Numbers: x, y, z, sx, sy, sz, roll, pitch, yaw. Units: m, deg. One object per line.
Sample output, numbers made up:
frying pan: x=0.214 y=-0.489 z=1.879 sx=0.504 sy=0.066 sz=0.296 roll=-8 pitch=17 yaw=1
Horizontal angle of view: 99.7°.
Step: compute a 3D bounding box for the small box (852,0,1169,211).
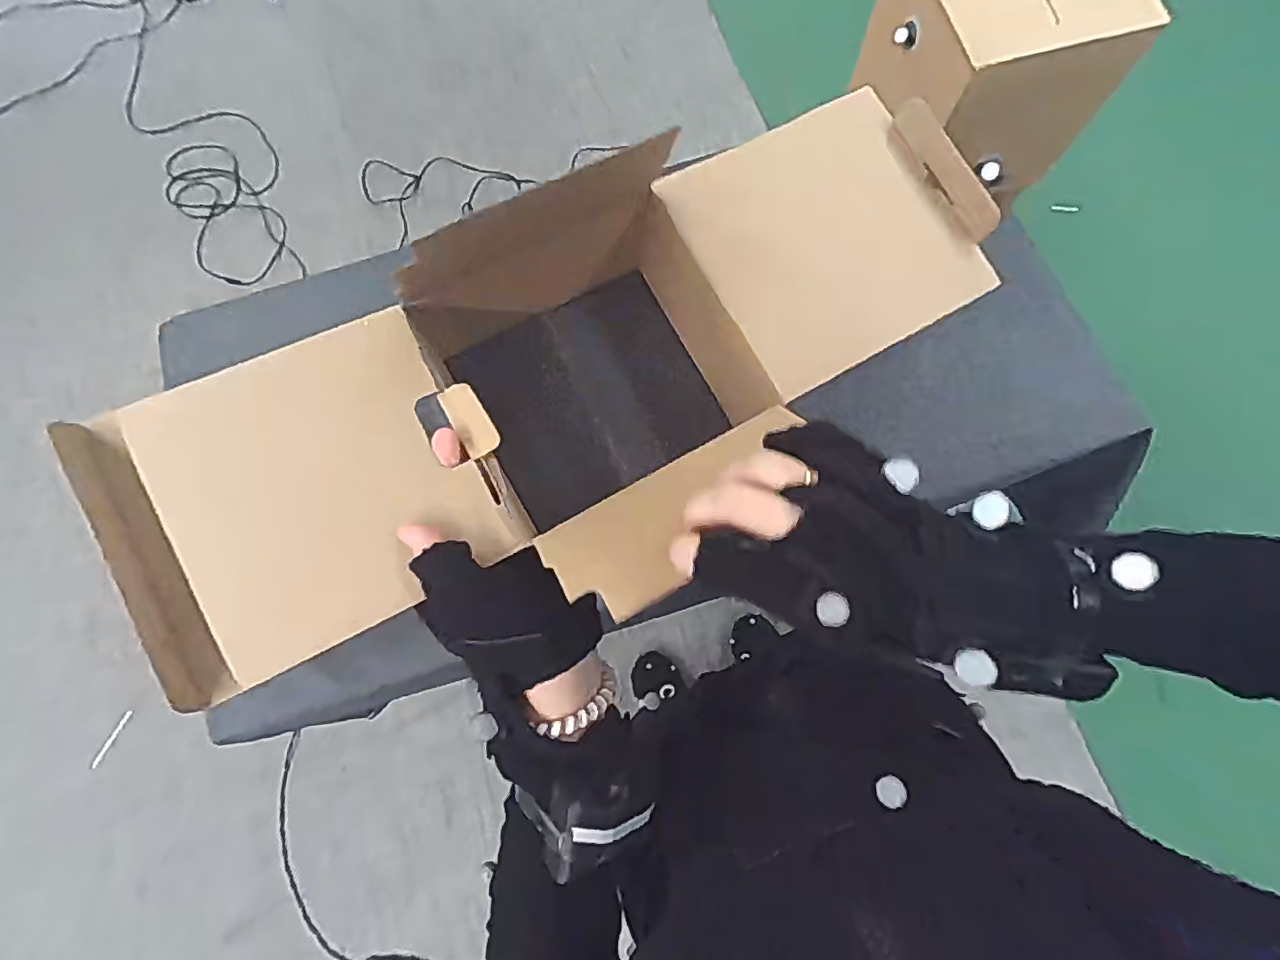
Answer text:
small box: x=0.333 y=-0.408 z=0.533 sx=0.168 sy=0.176 sz=0.179 roll=-13 pitch=75 yaw=0
